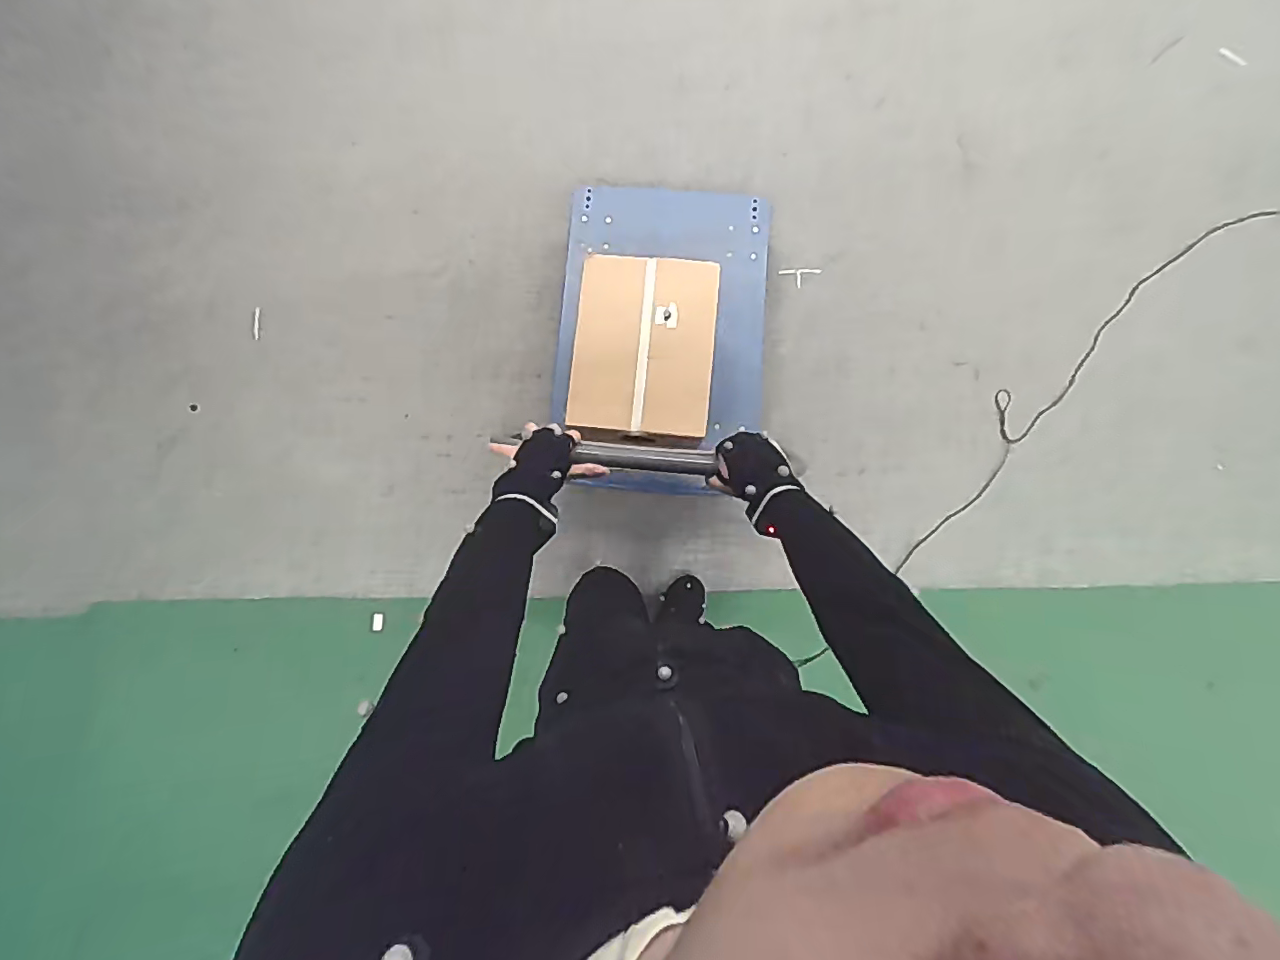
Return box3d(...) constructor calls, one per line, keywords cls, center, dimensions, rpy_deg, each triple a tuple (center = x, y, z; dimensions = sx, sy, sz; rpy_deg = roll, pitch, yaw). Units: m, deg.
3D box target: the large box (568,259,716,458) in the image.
box3d(cls="large box", center=(0.013, -0.281, 1.355), dimensions=(0.320, 0.320, 0.408), rpy_deg=(5, 82, 2))
